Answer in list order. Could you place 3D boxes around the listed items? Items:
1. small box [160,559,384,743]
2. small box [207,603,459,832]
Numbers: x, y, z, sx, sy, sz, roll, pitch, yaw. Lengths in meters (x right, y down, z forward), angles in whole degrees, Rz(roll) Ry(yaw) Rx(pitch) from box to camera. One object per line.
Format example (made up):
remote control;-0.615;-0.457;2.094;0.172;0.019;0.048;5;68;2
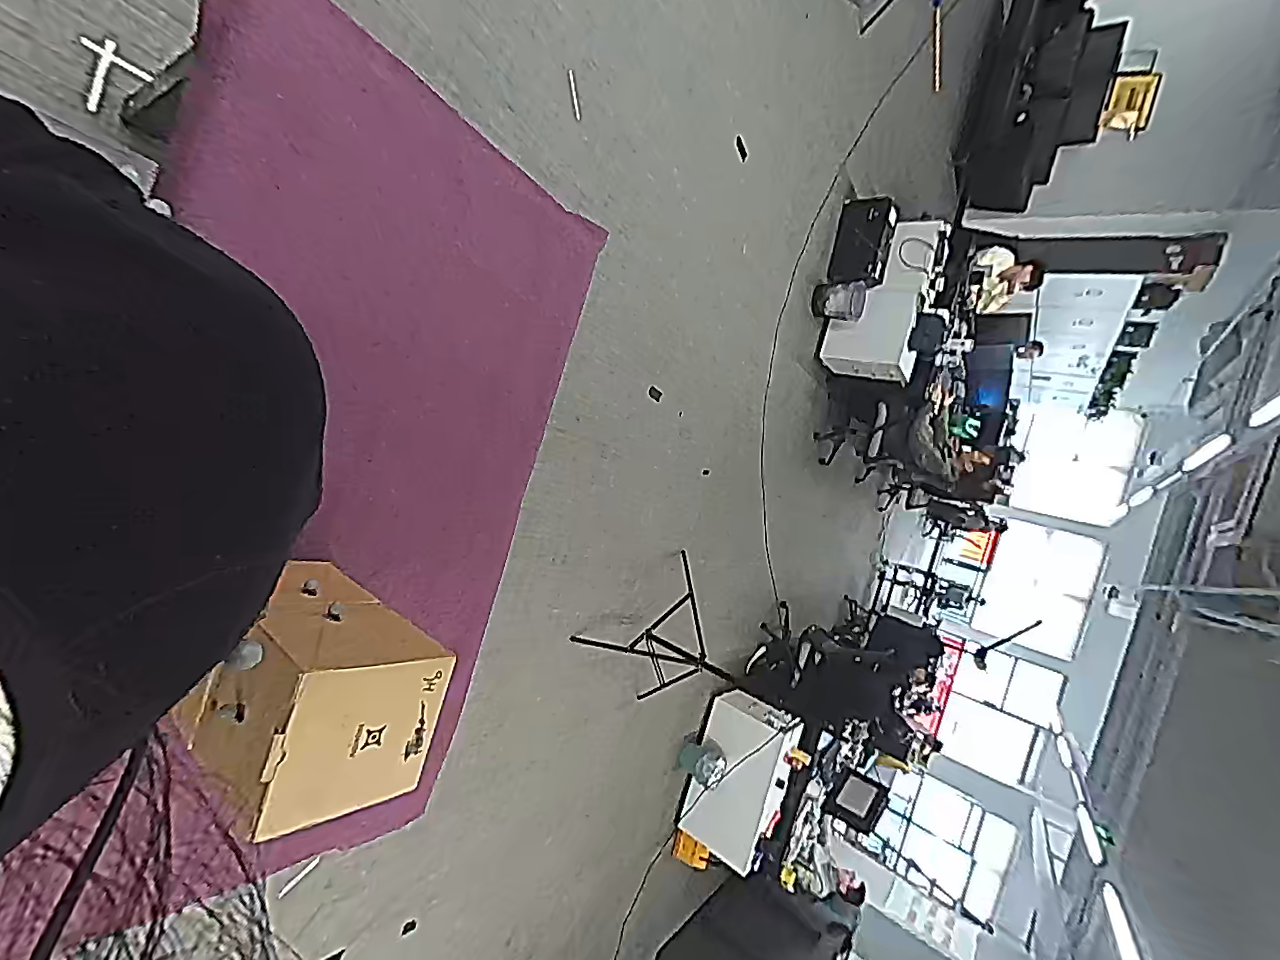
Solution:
small box;-0.478;0.207;0.703;0.179;0.176;0.168;17;89;-56
small box;-0.347;0.247;0.613;0.179;0.176;0.168;19;88;-55
